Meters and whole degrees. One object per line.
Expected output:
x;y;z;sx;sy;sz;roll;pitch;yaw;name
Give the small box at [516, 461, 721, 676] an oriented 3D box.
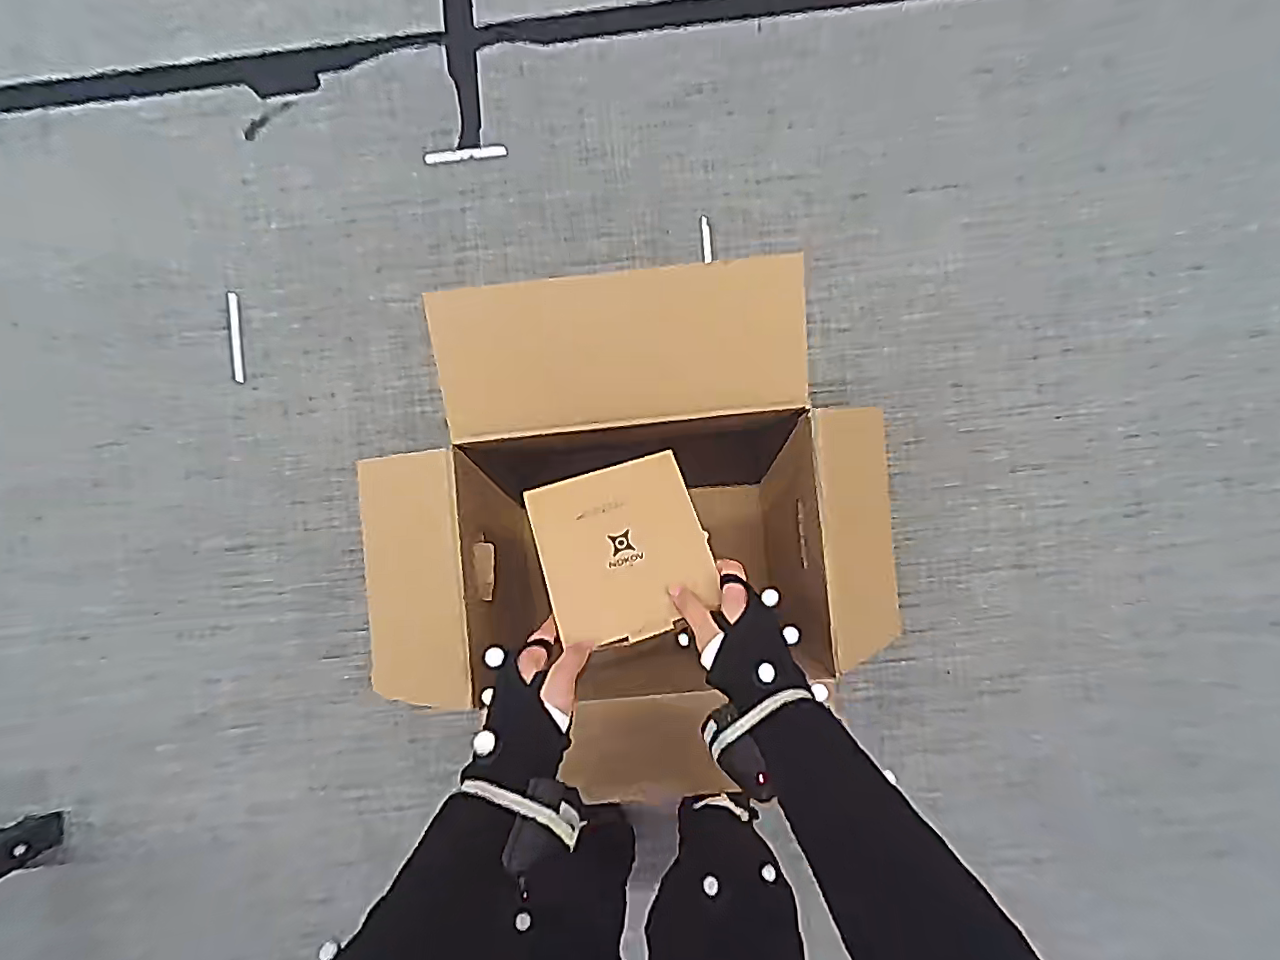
-0.023;0.109;0.605;0.168;0.176;0.179;-18;67;-8;small box
